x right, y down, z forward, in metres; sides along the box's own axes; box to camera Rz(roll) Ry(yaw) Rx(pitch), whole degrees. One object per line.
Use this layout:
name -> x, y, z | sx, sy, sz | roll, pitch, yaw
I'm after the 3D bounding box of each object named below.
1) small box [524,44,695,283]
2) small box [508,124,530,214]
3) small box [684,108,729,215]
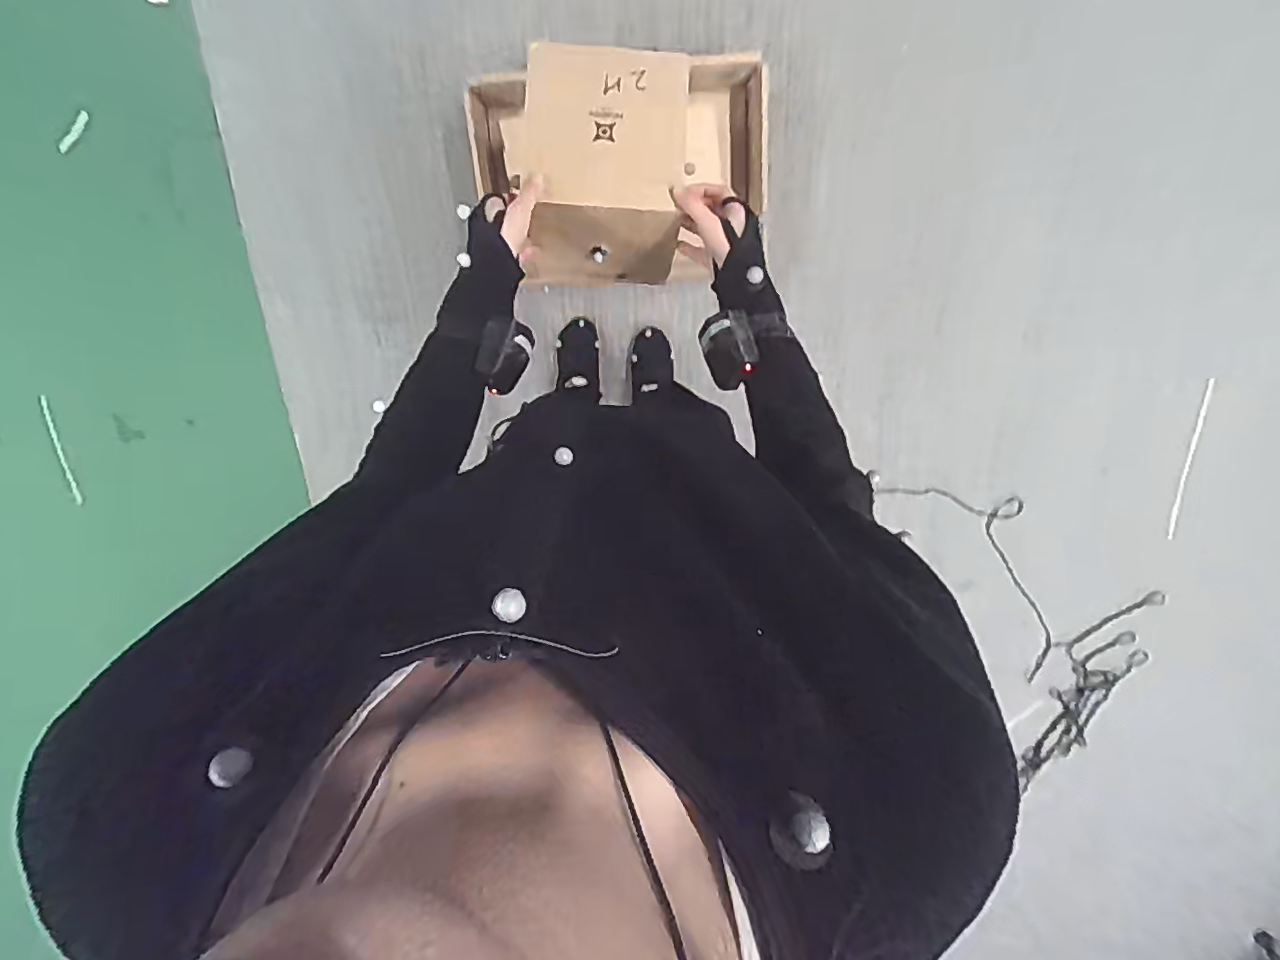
small box -> -0.032, -0.346, 0.624 | 0.168, 0.176, 0.179 | 3, 85, -2
small box -> -0.175, -0.673, 1.194 | 0.179, 0.176, 0.168 | -7, 109, 2
small box -> 0.090, -0.682, 1.190 | 0.179, 0.176, 0.168 | -10, 108, 4
